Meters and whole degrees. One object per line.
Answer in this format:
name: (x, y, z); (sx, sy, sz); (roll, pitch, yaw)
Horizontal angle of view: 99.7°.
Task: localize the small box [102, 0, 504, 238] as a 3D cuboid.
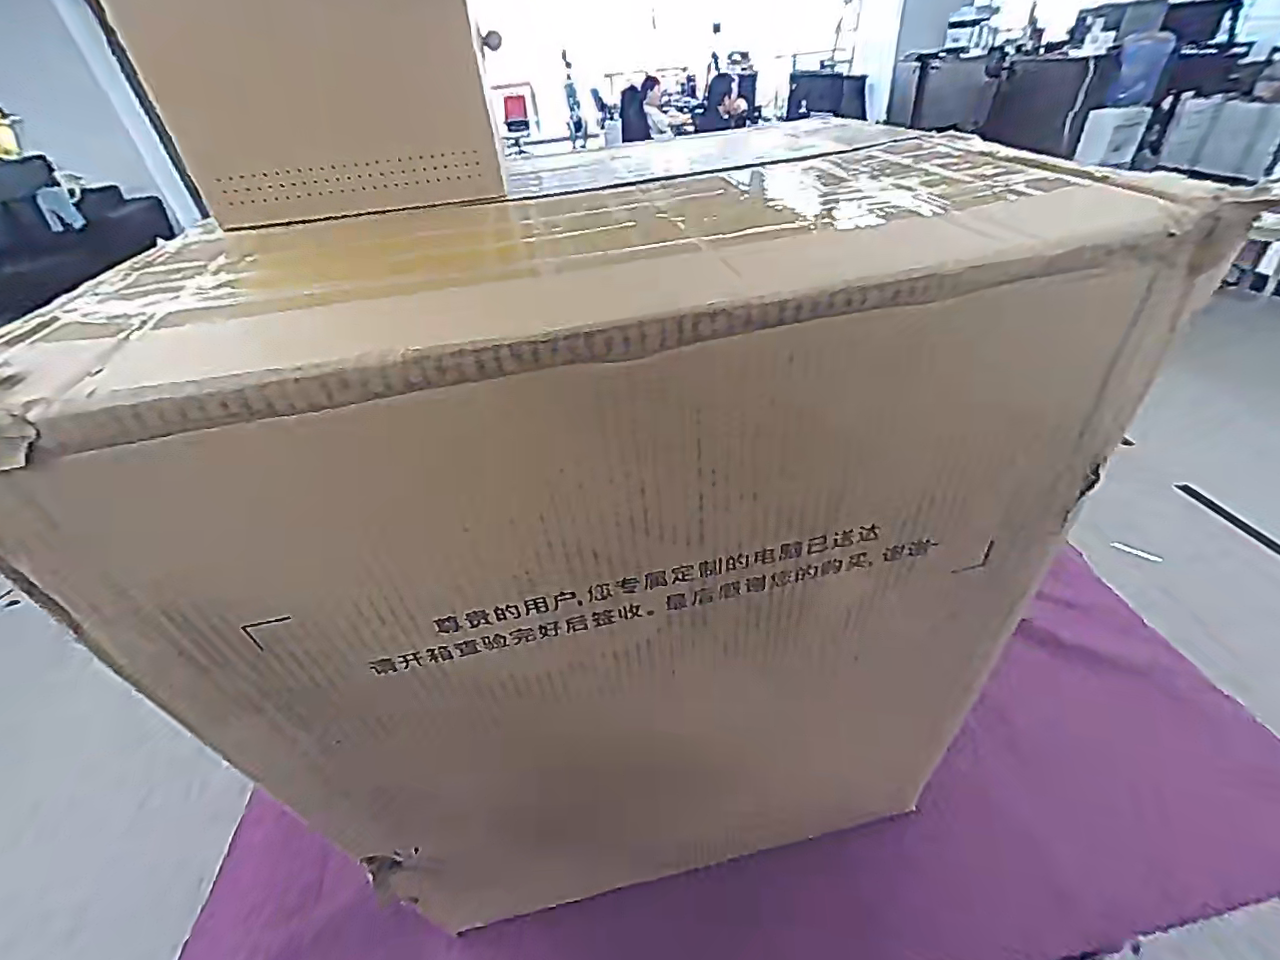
small box: (-0.189, -0.271, 0.350); (0.179, 0.176, 0.168); (-11, 38, -7)
